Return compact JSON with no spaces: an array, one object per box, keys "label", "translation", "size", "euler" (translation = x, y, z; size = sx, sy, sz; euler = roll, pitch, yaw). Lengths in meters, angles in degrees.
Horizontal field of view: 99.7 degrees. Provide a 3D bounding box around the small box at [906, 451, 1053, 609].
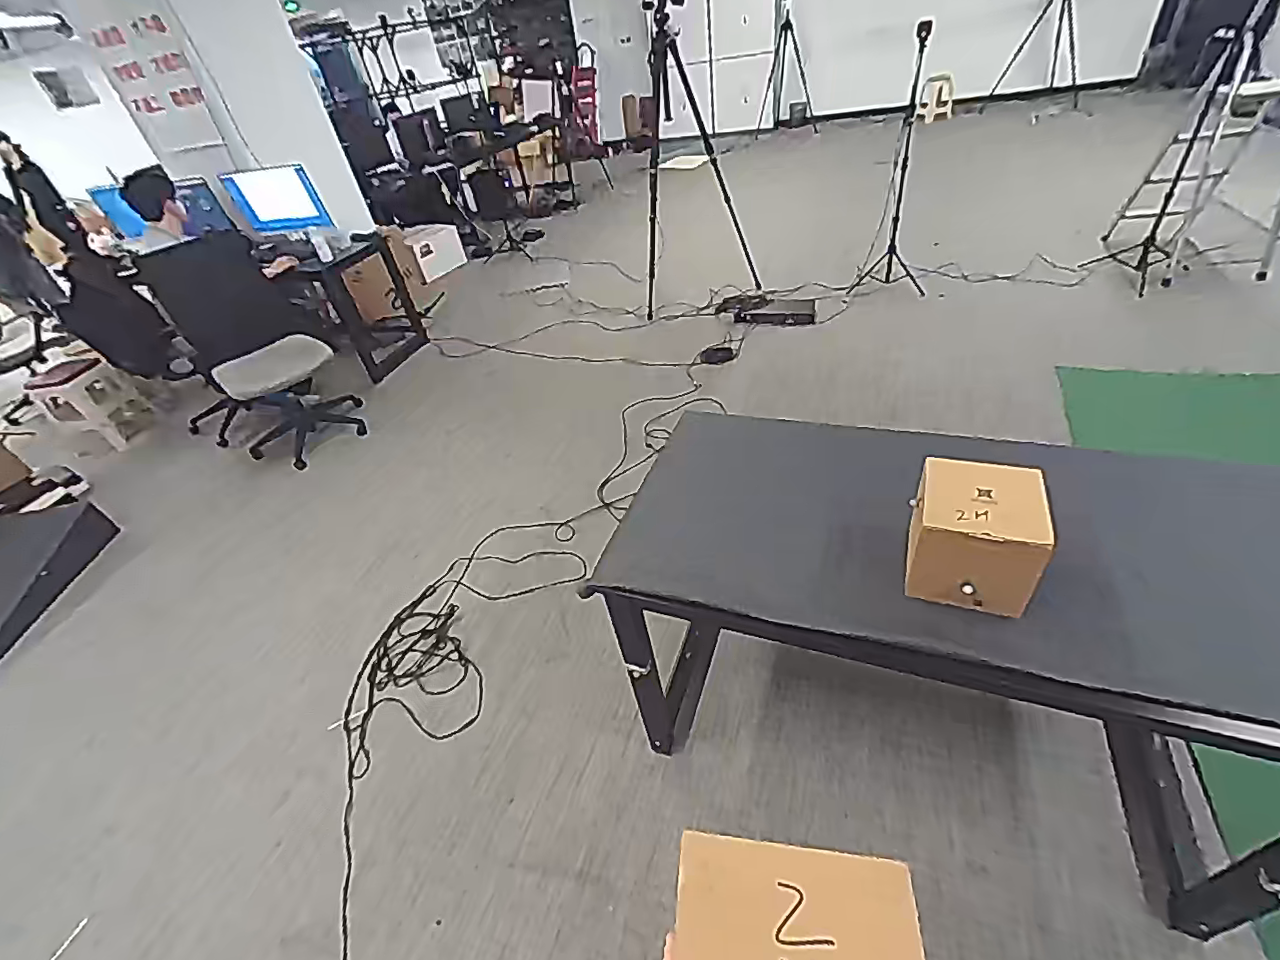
[{"label":"small box","translation":[0.540,0.078,0.883],"size":[0.168,0.176,0.179],"euler":[9,43,23]}]
